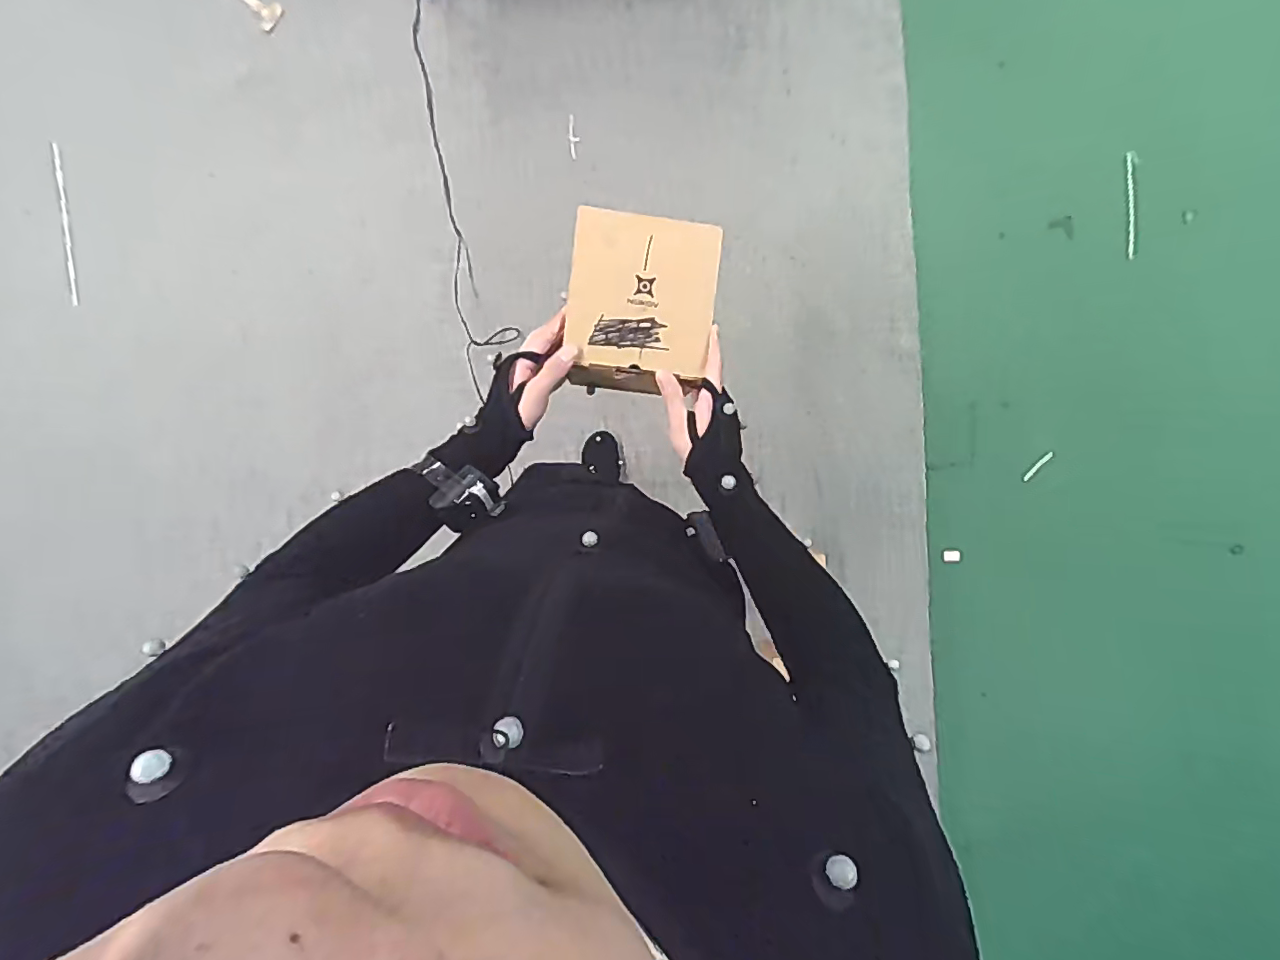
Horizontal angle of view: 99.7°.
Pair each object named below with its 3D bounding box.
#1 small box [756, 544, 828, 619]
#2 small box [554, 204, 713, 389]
[{"bbox_3d":[0.435,0.290,1.566,0.168,0.176,0.179,-3,94,0],"label":"small box"},{"bbox_3d":[-0.011,-0.215,0.685,0.168,0.176,0.179,5,92,-4],"label":"small box"}]
